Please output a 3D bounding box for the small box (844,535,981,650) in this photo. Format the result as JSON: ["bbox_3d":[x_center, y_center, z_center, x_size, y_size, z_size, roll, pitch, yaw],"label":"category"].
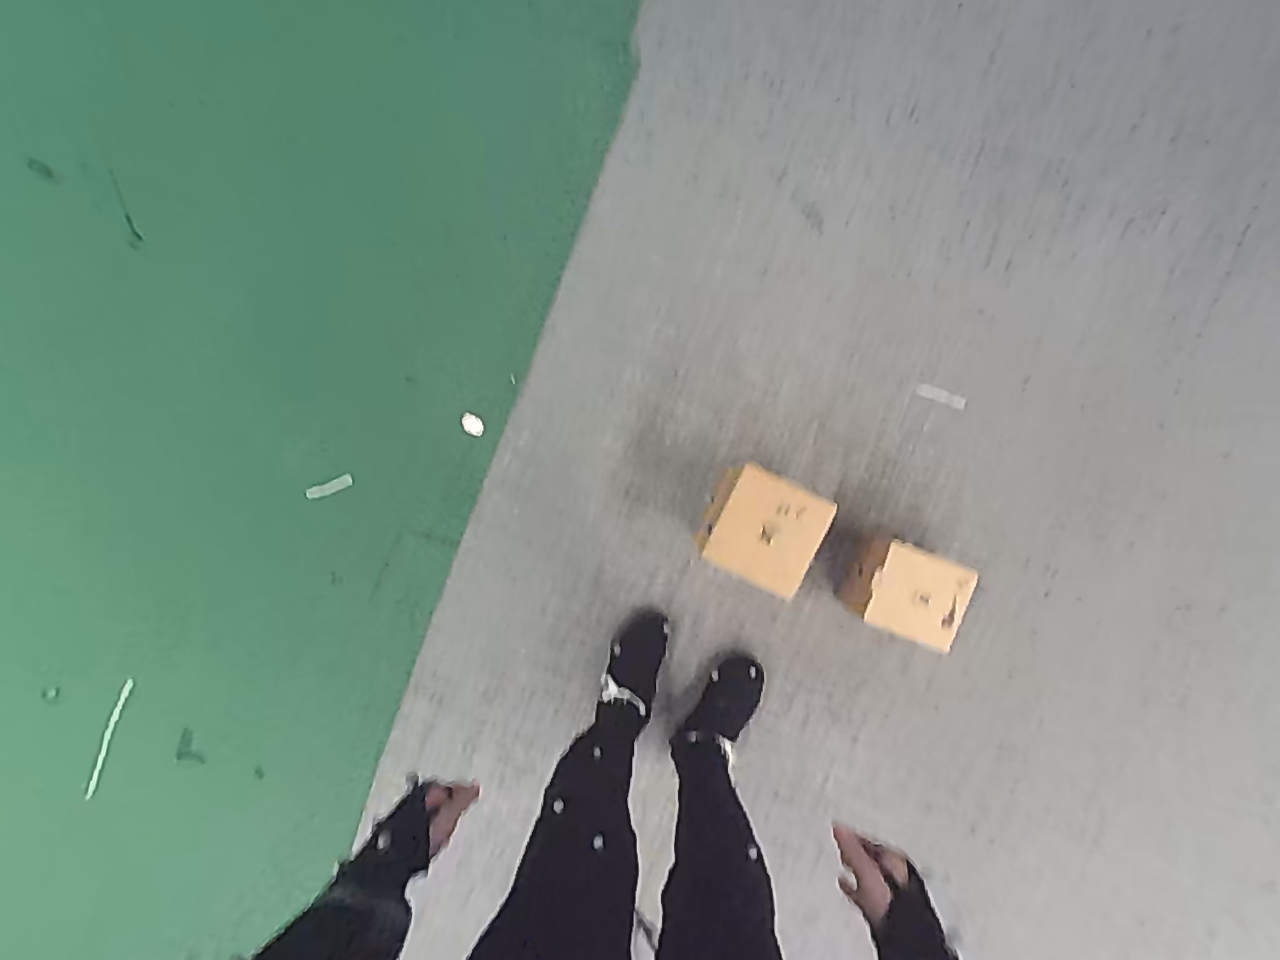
[{"bbox_3d":[0.543,0.219,1.108,0.179,0.176,0.168,21,92,5],"label":"small box"}]

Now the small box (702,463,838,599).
[{"bbox_3d":[0.221,0.085,0.968,0.168,0.176,0.179,26,91,3],"label":"small box"}]

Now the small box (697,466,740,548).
[{"bbox_3d":[0.229,0.084,1.133,0.168,0.176,0.179,24,91,4],"label":"small box"}]
